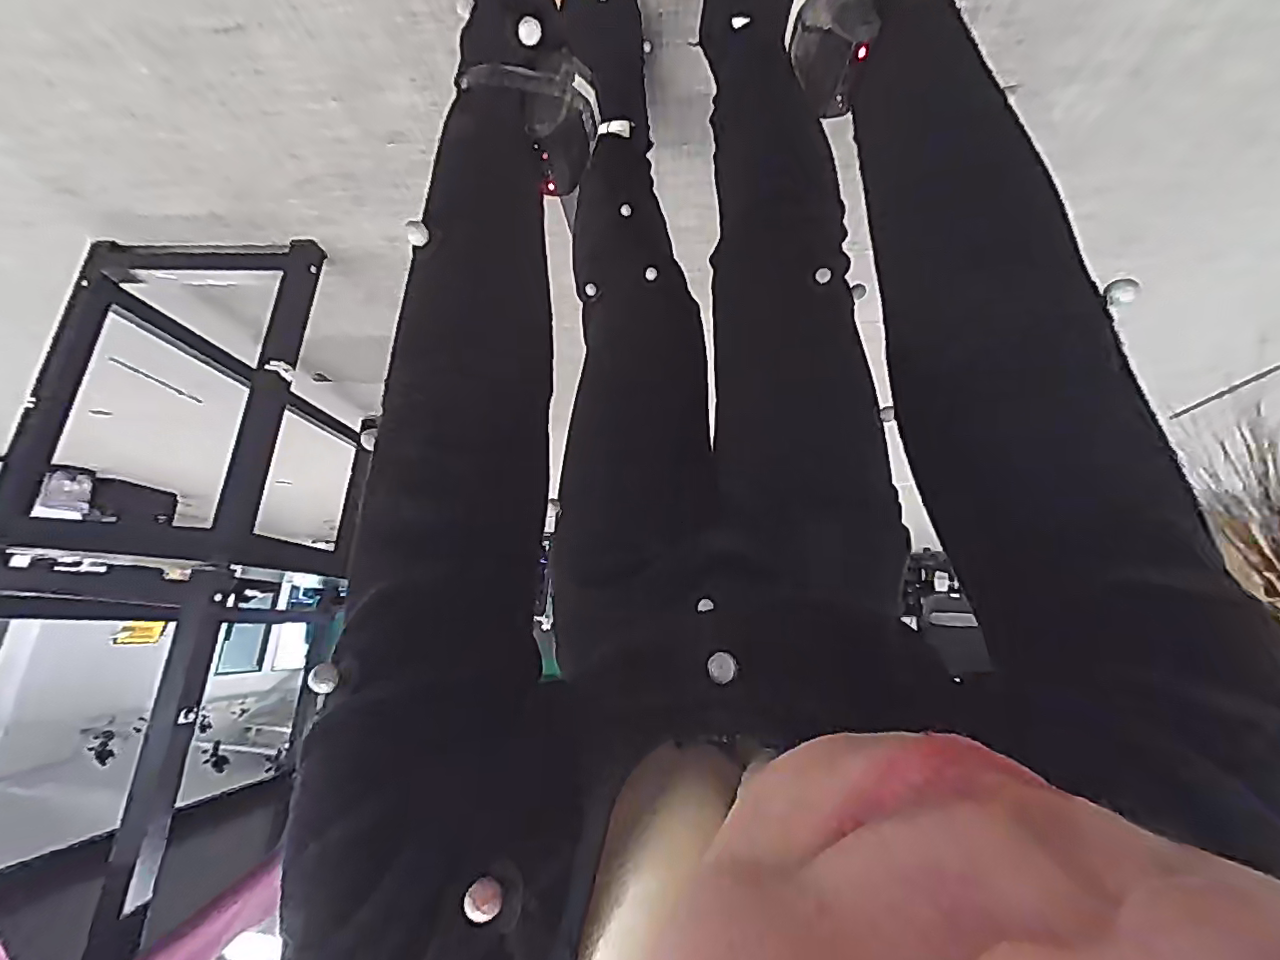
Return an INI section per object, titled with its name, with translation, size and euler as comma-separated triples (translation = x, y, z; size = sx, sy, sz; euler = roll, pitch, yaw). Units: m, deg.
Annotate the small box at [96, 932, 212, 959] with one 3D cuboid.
[small box]
translation = -0.941, 0.973, 0.988
size = 0.168, 0.176, 0.179
euler = 5, 166, 1
